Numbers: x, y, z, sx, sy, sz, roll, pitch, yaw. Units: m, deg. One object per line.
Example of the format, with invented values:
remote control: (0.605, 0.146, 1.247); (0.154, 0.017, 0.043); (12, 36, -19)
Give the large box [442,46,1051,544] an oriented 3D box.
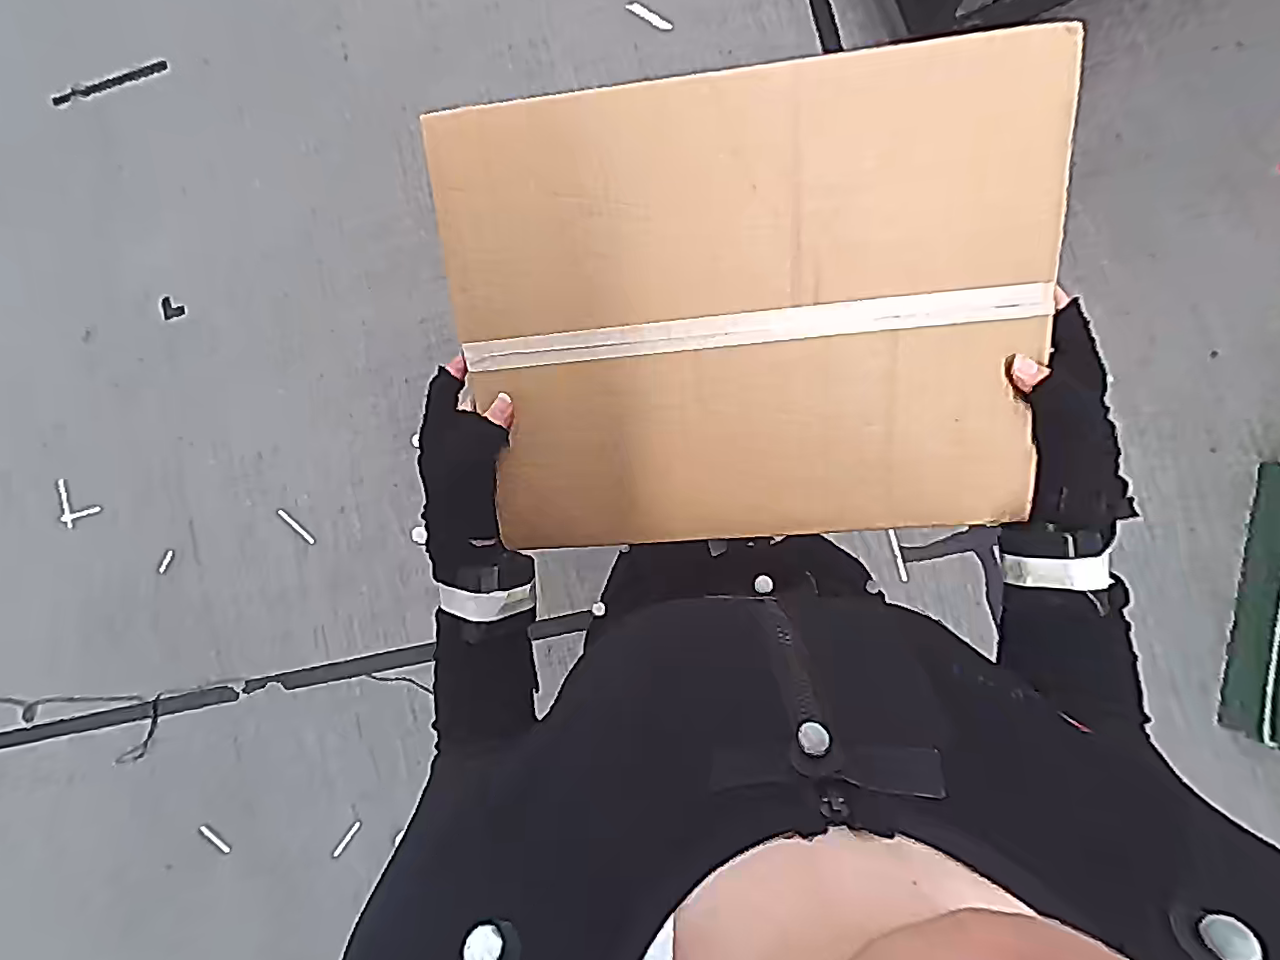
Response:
large box: (0.083, -0.150, 0.537); (0.408, 0.320, 0.320); (-4, 108, 6)
